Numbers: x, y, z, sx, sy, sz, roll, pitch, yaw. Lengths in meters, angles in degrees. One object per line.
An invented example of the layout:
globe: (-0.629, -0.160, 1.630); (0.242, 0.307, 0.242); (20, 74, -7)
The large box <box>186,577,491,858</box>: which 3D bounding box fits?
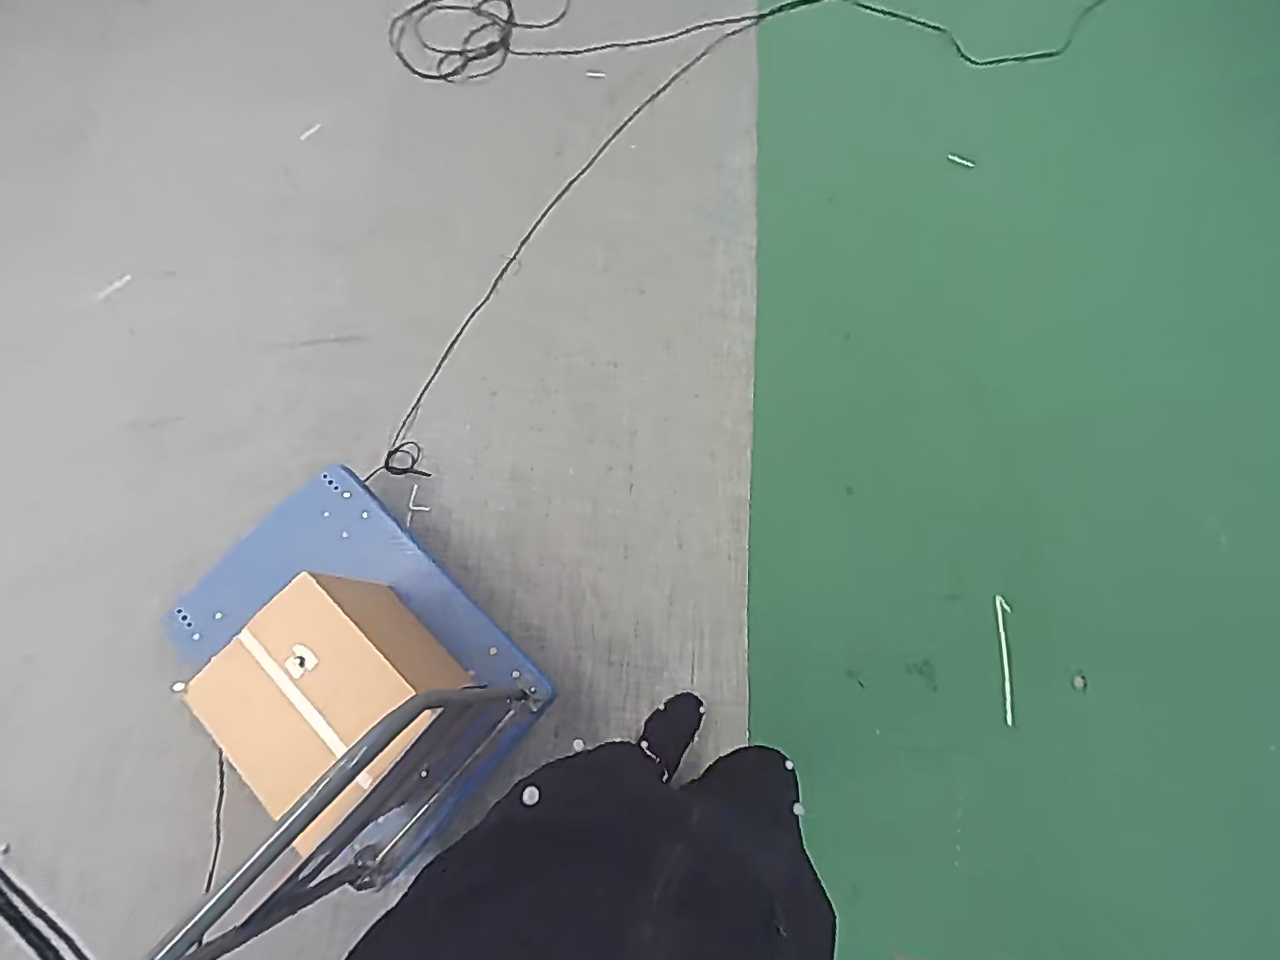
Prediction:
large box: (-0.598, 0.463, 1.137); (0.408, 0.320, 0.320); (40, 79, 15)
